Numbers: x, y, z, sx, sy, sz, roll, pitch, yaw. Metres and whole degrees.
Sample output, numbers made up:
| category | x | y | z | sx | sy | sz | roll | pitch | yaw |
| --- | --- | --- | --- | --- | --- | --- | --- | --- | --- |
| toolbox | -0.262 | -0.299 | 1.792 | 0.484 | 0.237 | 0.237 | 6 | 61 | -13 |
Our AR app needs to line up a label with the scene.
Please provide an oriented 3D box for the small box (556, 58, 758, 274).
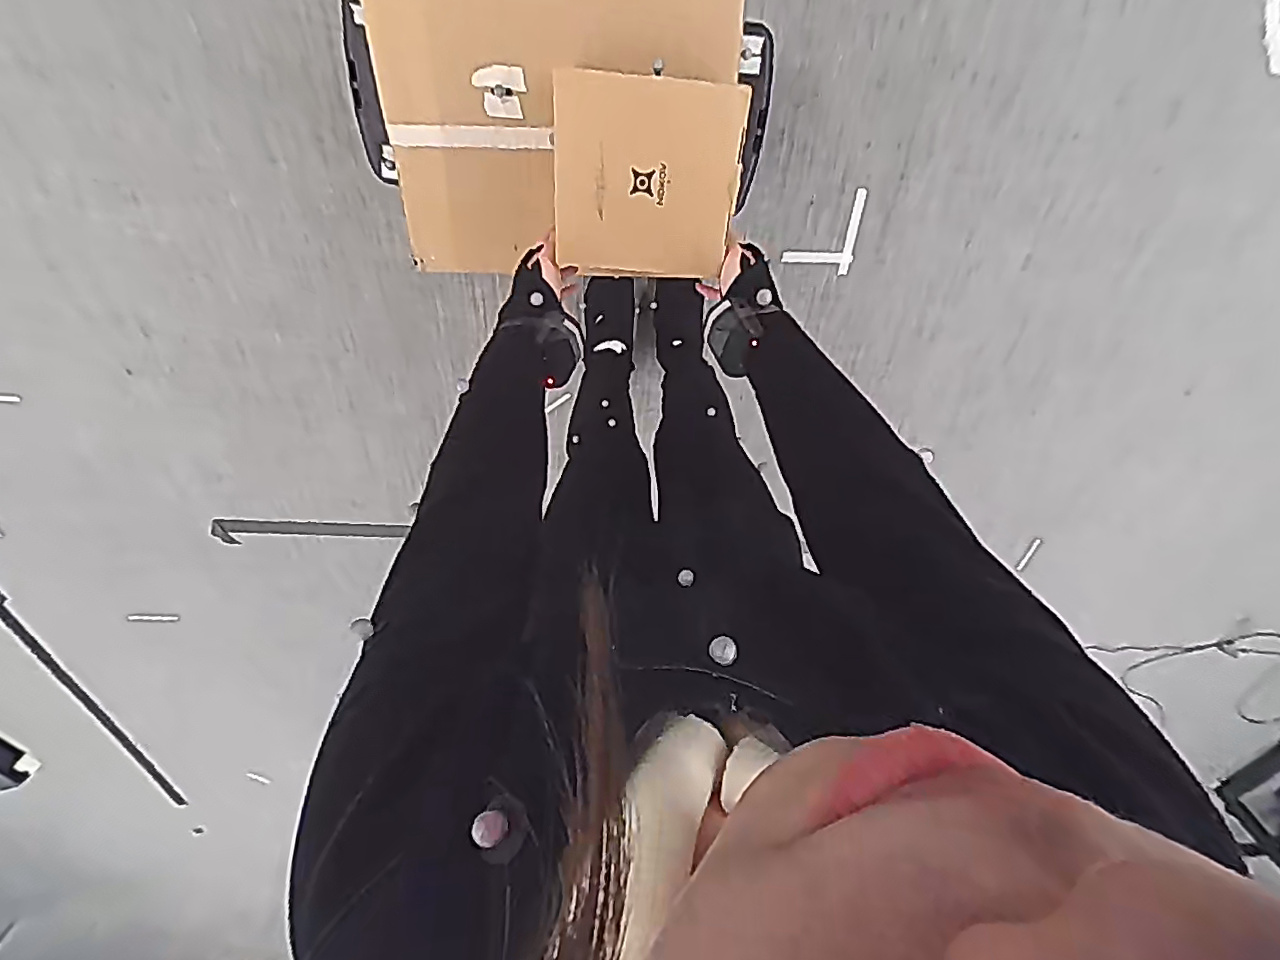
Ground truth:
| category | x | y | z | sx | sy | sz | roll | pitch | yaw |
| --- | --- | --- | --- | --- | --- | --- | --- | --- | --- |
| small box | 0.006 | -0.331 | 0.570 | 0.179 | 0.176 | 0.168 | 3 | 126 | -5 |

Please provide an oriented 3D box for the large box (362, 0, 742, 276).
| category | x | y | z | sx | sy | sz | roll | pitch | yaw |
| --- | --- | --- | --- | --- | --- | --- | --- | --- | --- |
| large box | -0.094 | -0.489 | 0.754 | 0.408 | 0.320 | 0.320 | 1 | 125 | -2 |
